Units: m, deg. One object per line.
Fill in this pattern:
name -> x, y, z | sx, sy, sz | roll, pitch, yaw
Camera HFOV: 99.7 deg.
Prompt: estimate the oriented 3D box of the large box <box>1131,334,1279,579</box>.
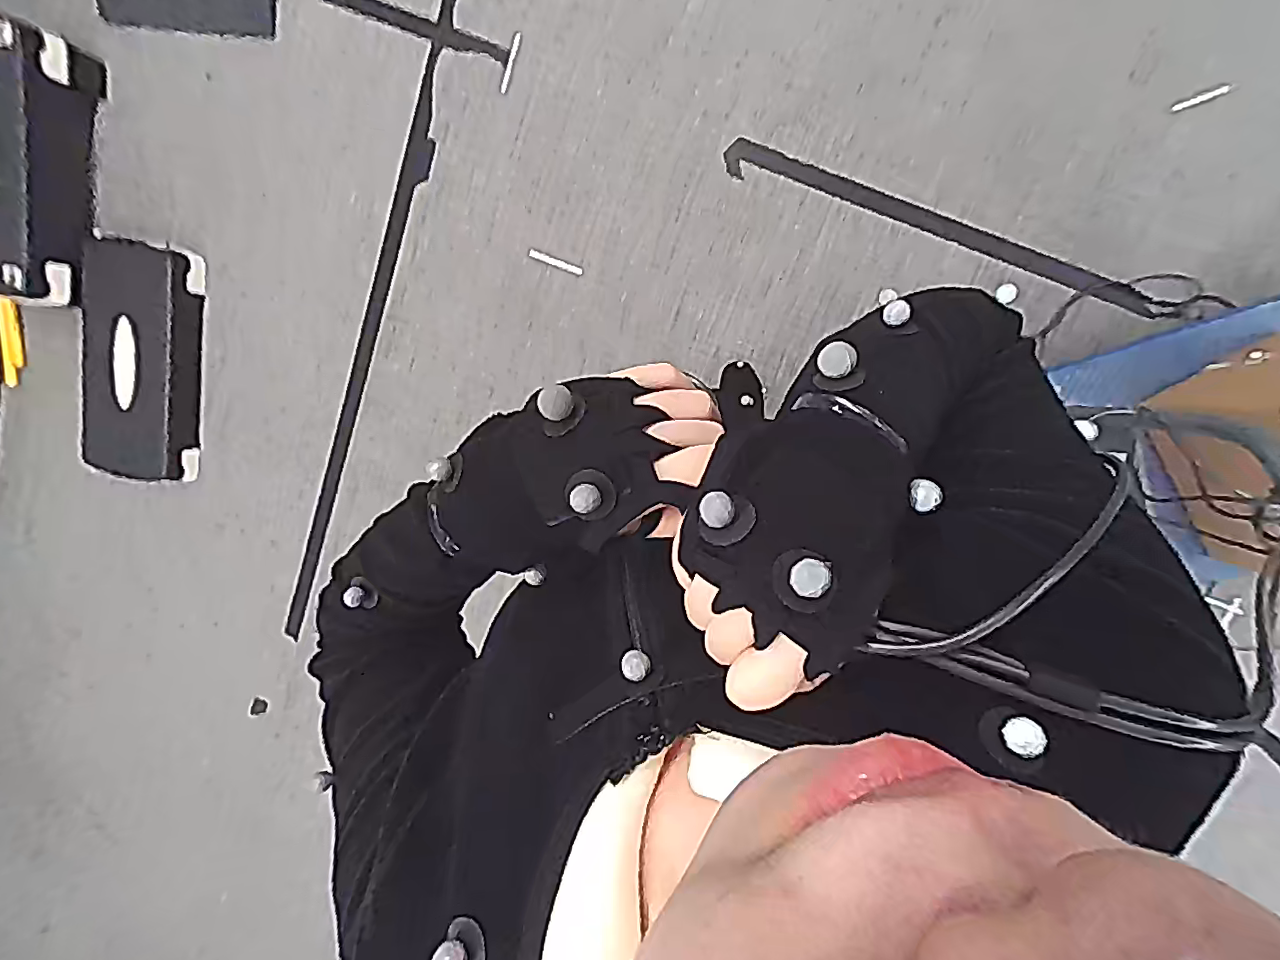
large box -> 1.293, -0.046, 1.039 | 0.320, 0.320, 0.408 | -30, 95, 9
